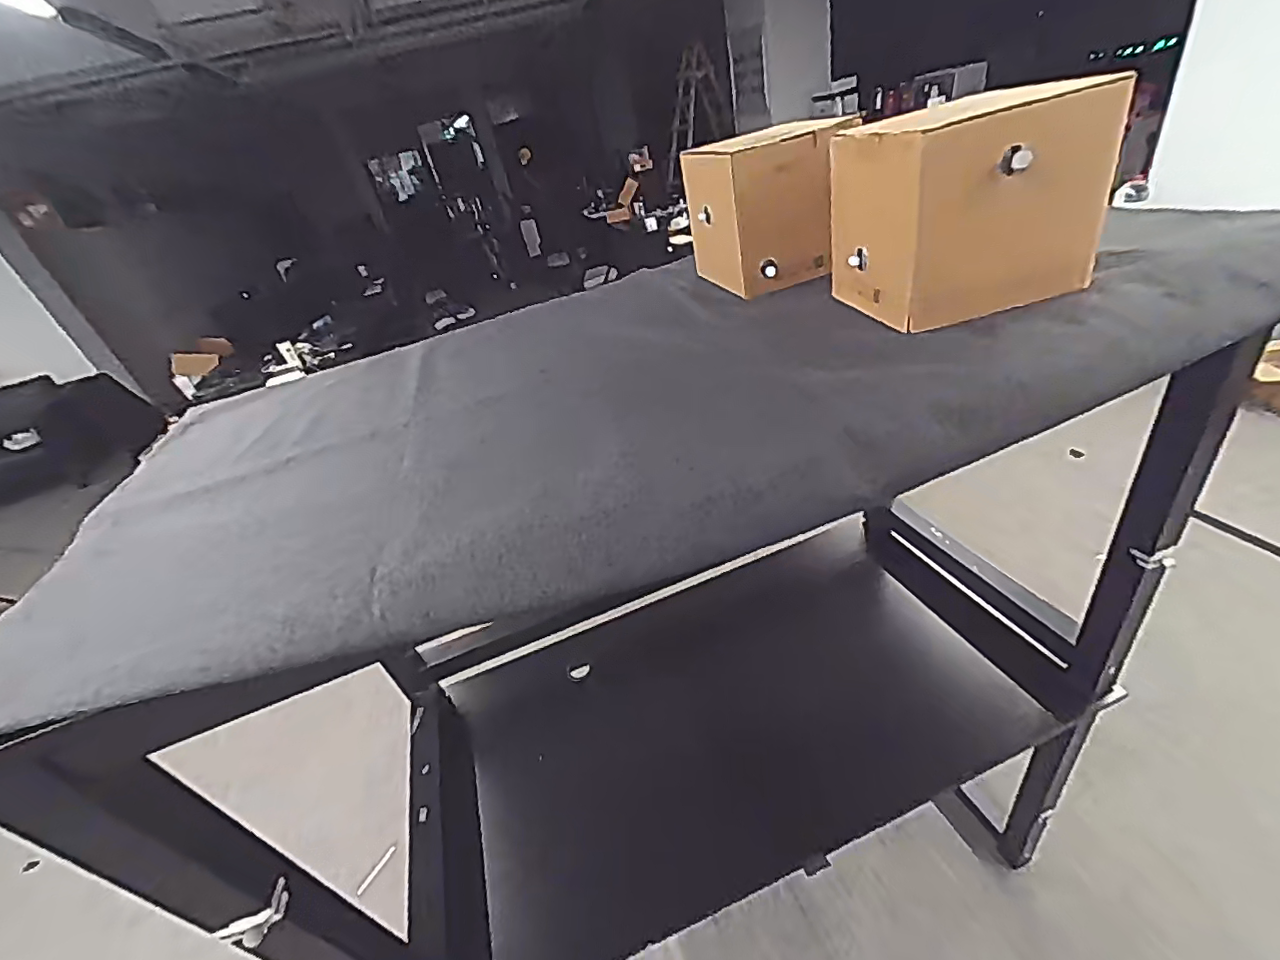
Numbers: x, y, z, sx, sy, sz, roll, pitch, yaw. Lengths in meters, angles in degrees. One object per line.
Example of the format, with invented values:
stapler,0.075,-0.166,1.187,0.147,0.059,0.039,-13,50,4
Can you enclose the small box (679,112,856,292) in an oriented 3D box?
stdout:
small box,0.169,-0.365,0.720,0.168,0.176,0.179,-19,33,-6

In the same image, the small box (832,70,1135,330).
small box,0.303,-0.265,0.522,0.179,0.176,0.168,-16,32,0
